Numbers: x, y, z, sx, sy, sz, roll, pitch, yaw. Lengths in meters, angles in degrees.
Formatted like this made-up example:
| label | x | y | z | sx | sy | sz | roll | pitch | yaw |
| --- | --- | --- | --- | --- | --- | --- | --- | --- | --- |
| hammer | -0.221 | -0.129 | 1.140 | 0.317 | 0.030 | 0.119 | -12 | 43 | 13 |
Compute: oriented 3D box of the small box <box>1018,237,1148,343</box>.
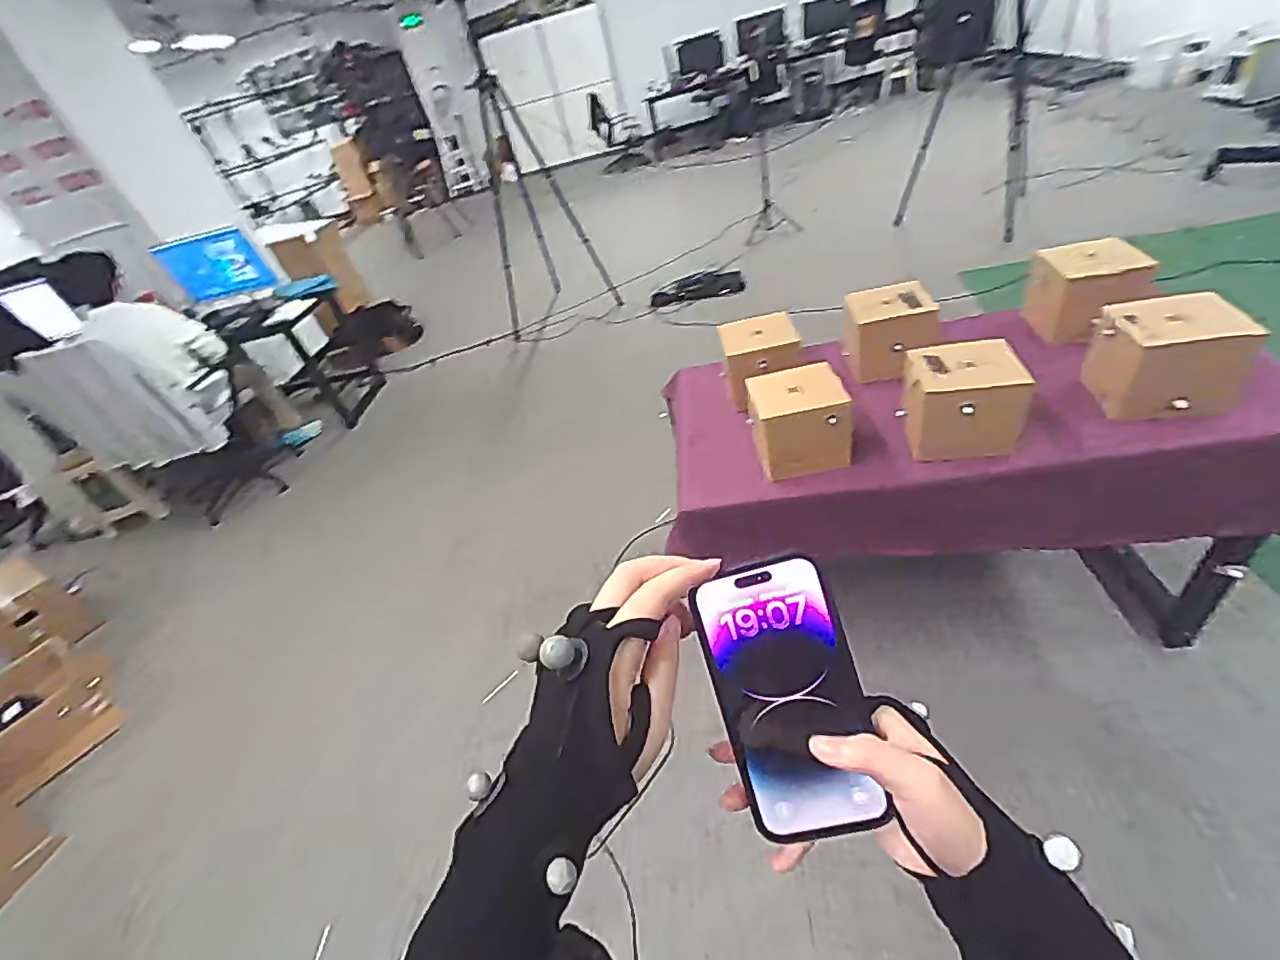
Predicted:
| label | x | y | z | sx | sy | sz | roll | pitch | yaw |
| --- | --- | --- | --- | --- | --- | --- | --- | --- | --- |
| small box | 1.028 | -0.447 | 1.277 | 0.168 | 0.176 | 0.179 | -6 | 41 | 14 |

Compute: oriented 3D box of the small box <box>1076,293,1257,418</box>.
| label | x | y | z | sx | sy | sz | roll | pitch | yaw |
| --- | --- | --- | --- | --- | --- | --- | --- | --- | --- |
| small box | 0.996 | -0.237 | 1.046 | 0.179 | 0.176 | 0.168 | -3 | 41 | 16 |

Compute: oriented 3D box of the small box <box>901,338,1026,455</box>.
| label | x | y | z | sx | sy | sz | roll | pitch | yaw |
| --- | --- | --- | --- | --- | --- | --- | --- | --- | --- |
| small box | 0.636 | -0.163 | 1.090 | 0.179 | 0.176 | 0.168 | -4 | 41 | 15 |

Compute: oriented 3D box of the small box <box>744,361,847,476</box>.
| label | x | y | z | sx | sy | sz | roll | pitch | yaw |
| --- | --- | --- | --- | --- | --- | --- | --- | --- | --- |
| small box | 0.332 | -0.128 | 1.161 | 0.179 | 0.176 | 0.168 | -11 | 39 | 6 |
